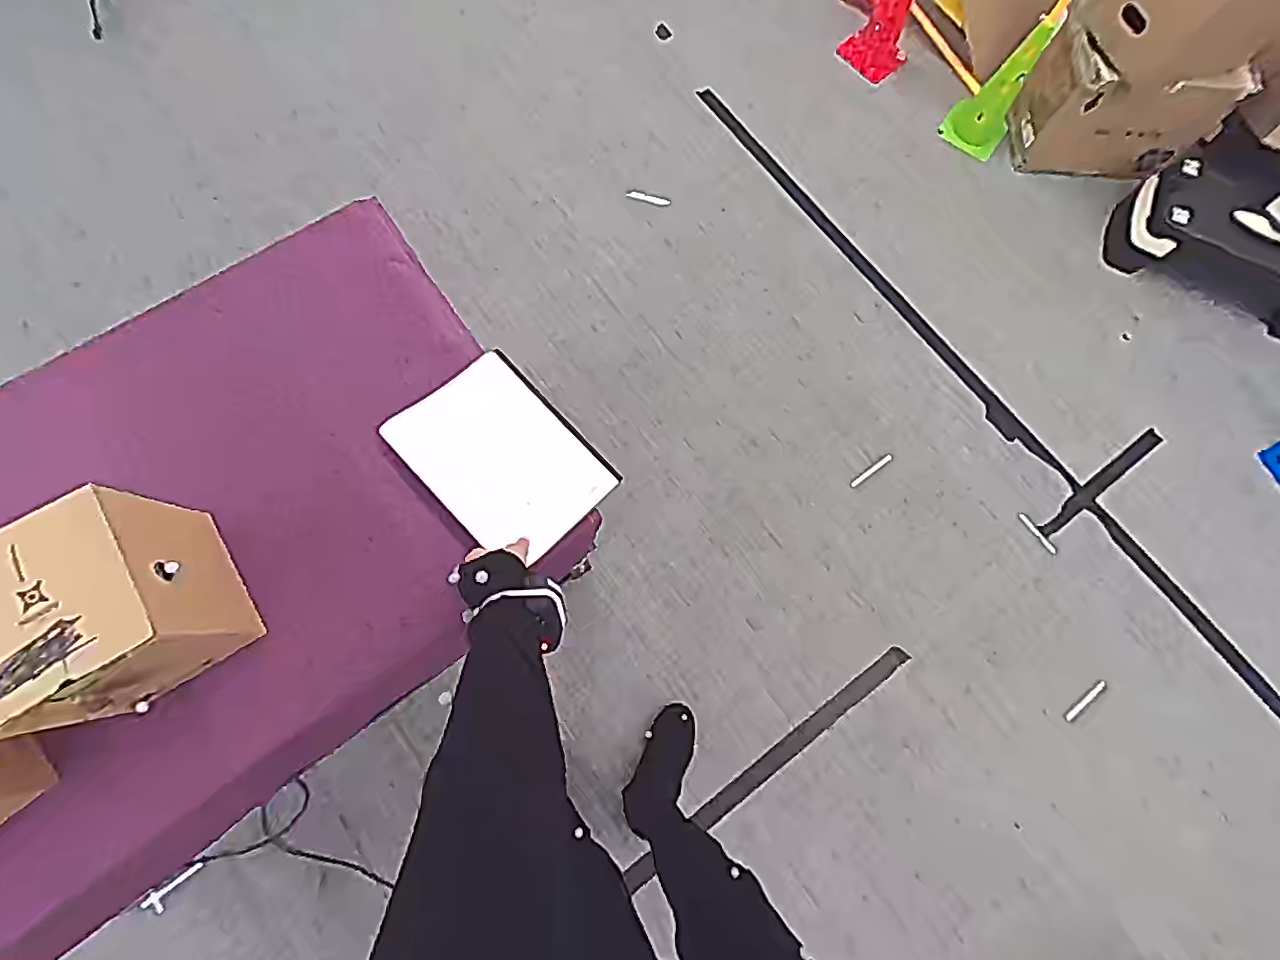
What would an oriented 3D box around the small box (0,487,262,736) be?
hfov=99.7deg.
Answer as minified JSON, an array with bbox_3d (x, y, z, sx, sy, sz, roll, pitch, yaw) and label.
[{"bbox_3d":[-0.558,0.135,0.580,0.168,0.176,0.179,-32,79,-11],"label":"small box"}]
